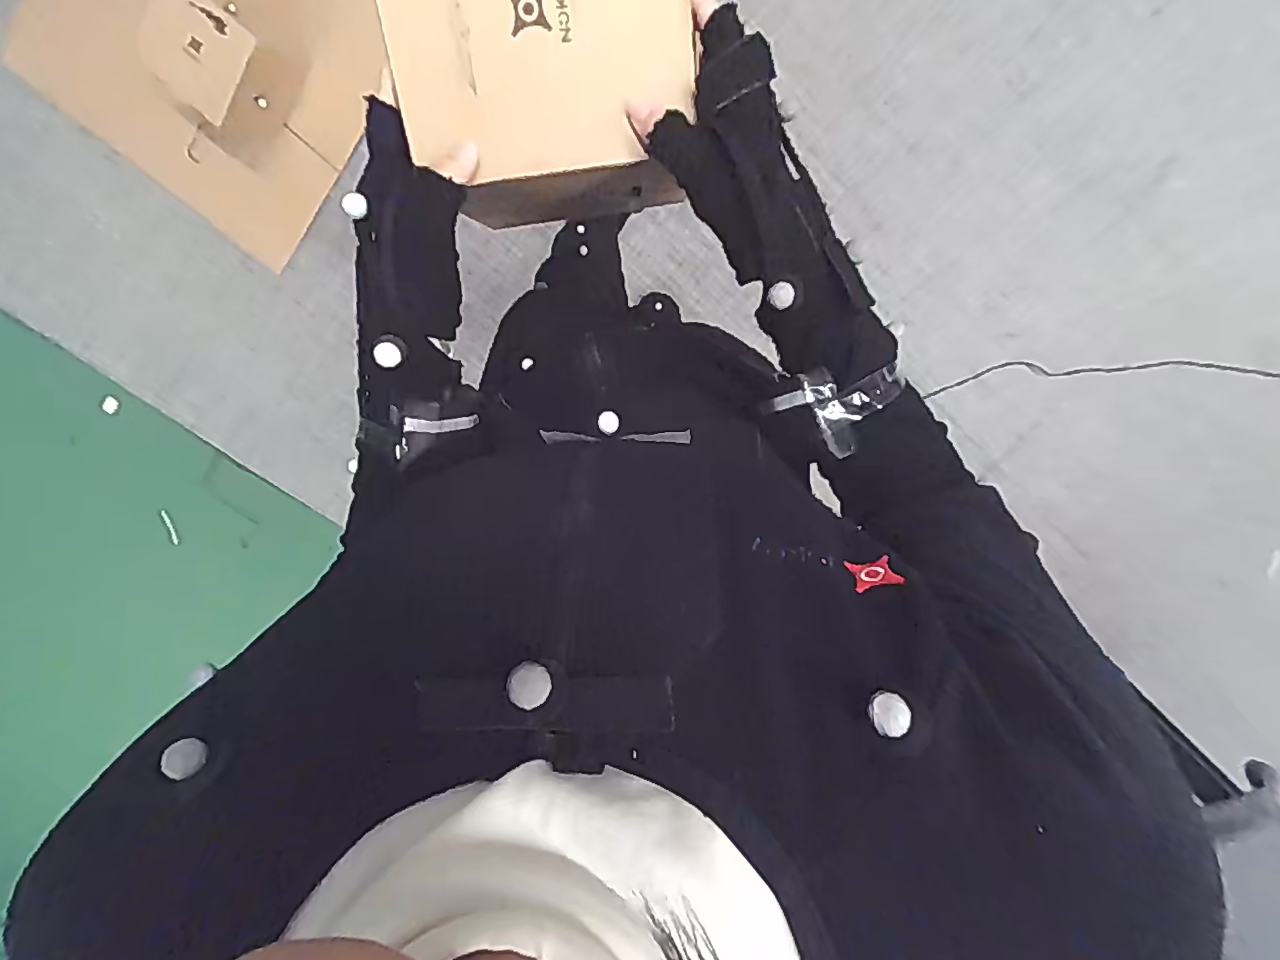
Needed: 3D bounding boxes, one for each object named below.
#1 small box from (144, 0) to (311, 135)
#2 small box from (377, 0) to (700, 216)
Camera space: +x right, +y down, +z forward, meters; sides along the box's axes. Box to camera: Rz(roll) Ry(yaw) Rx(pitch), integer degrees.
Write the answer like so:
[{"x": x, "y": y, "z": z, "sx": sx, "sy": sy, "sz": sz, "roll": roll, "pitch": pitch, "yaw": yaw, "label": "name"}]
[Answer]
[{"x": -0.770, "y": -0.795, "z": 1.027, "sx": 0.168, "sy": 0.176, "sz": 0.179, "roll": 36, "pitch": 113, "yaw": -13, "label": "small box"}, {"x": -0.059, "y": -0.297, "z": 0.377, "sx": 0.179, "sy": 0.176, "sz": 0.168, "roll": -8, "pitch": 107, "yaw": 4, "label": "small box"}]
